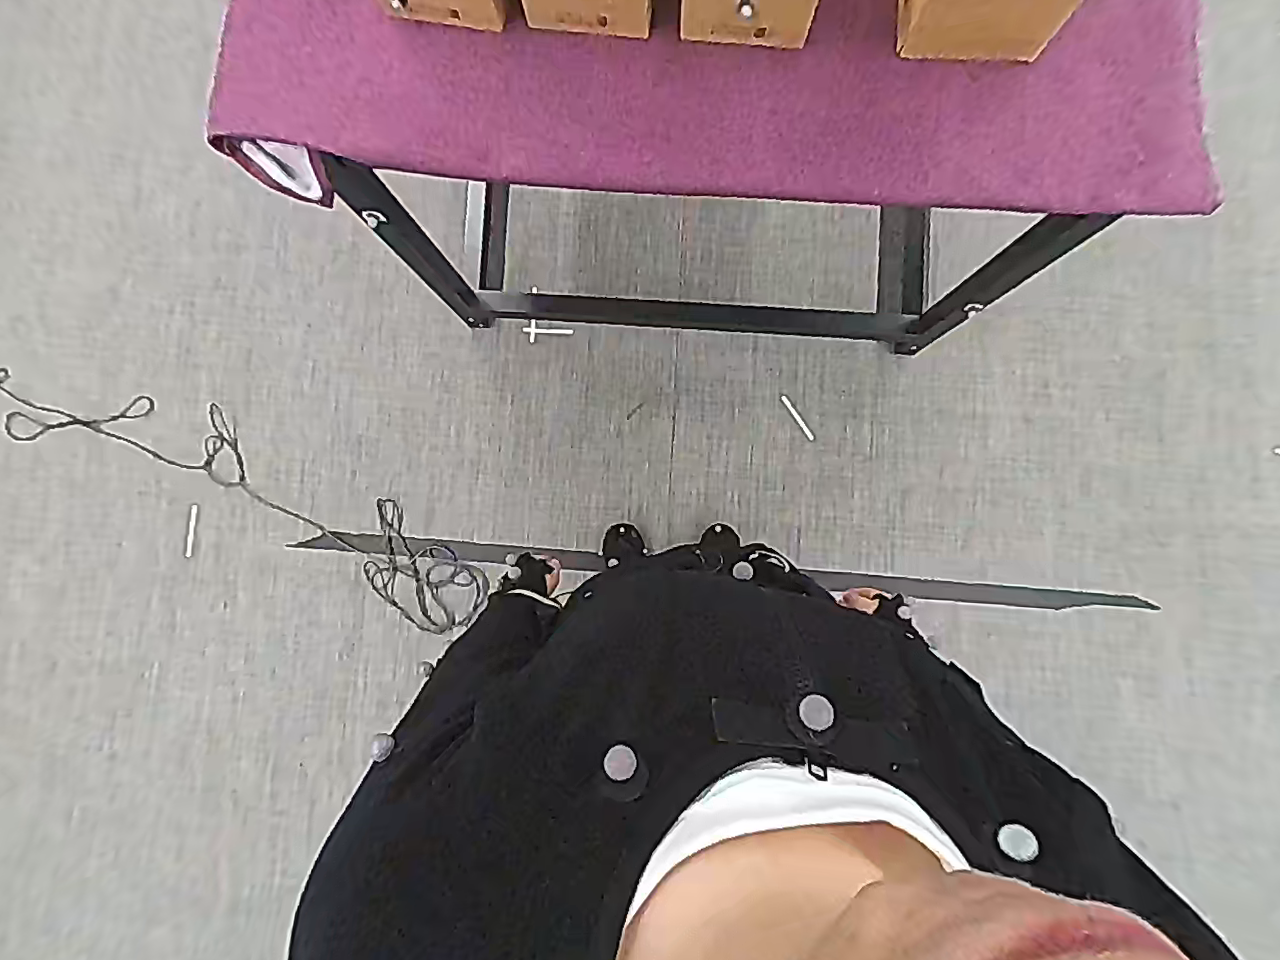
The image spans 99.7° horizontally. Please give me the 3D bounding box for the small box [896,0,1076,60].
[{"bbox_3d":[0.426,-0.635,0.631,0.179,0.176,0.168,4,84,3],"label":"small box"}]
